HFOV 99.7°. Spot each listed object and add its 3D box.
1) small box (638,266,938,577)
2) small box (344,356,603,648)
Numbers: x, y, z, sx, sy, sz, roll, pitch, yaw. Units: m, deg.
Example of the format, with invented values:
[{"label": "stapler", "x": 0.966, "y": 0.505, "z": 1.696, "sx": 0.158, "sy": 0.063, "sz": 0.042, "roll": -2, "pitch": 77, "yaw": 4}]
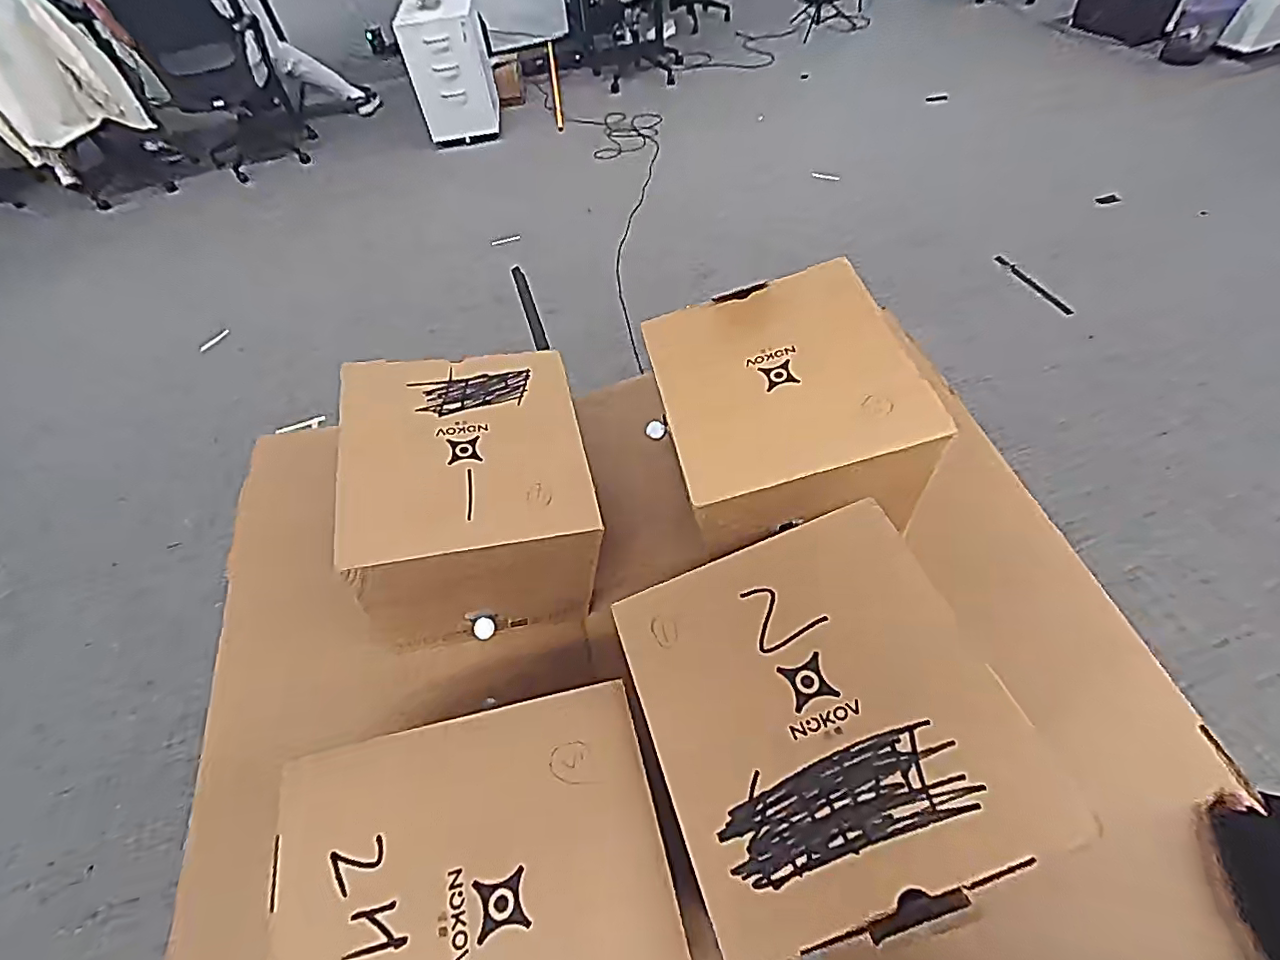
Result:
[{"label": "small box", "x": 0.110, "y": -0.034, "z": 0.449, "sx": 0.168, "sy": 0.176, "sz": 0.179, "roll": -17, "pitch": 56, "yaw": 5}, {"label": "small box", "x": -0.134, "y": 0.020, "z": 0.460, "sx": 0.168, "sy": 0.176, "sz": 0.179, "roll": -8, "pitch": 57, "yaw": -14}]
